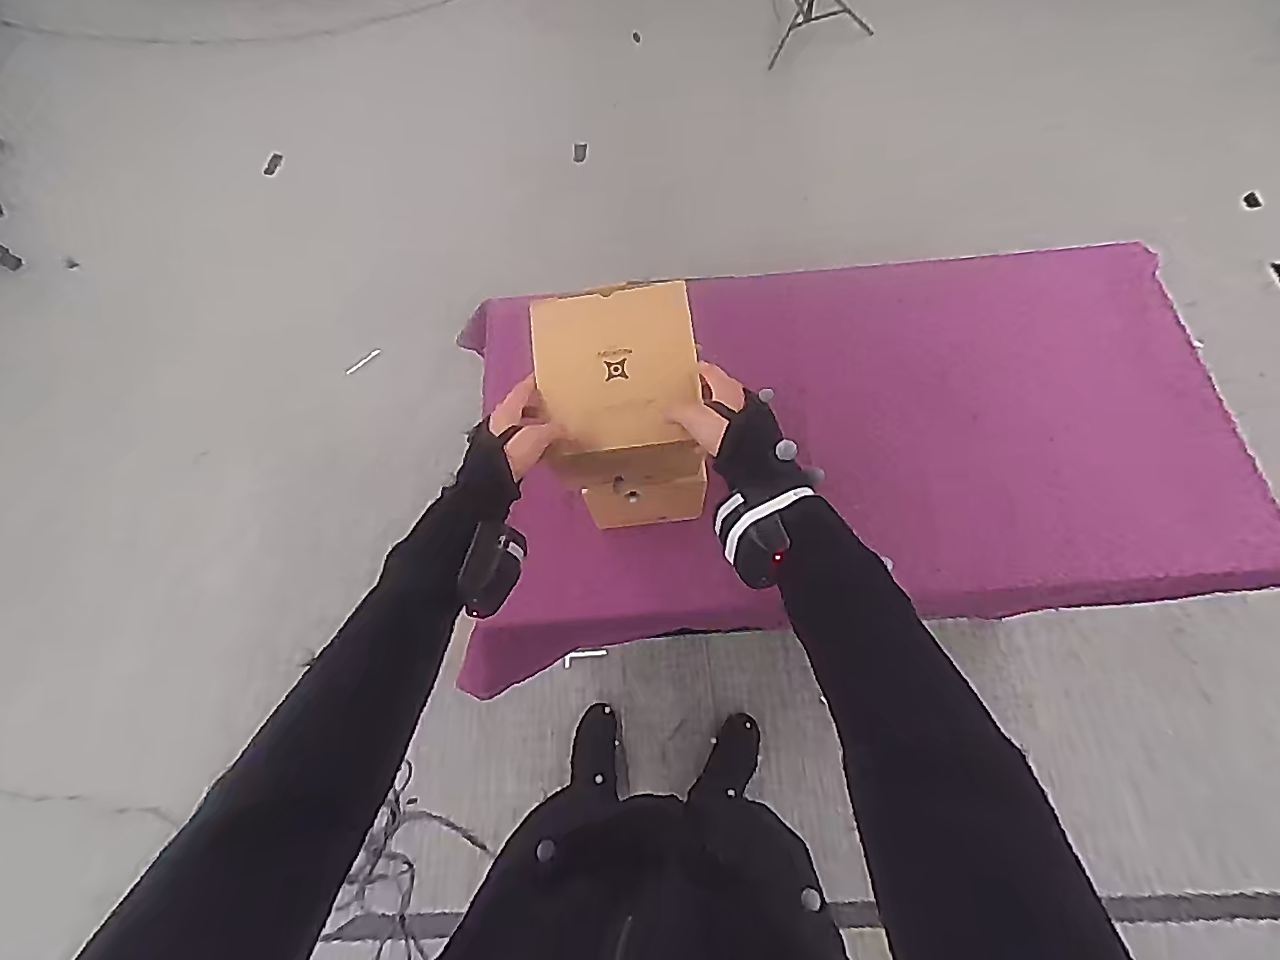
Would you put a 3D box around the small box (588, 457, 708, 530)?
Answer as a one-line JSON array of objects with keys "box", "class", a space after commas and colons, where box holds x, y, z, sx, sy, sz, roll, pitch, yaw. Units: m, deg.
[{"box": [0.006, -0.038, 0.807, 0.168, 0.176, 0.179, -5, 68, 1], "class": "small box"}]

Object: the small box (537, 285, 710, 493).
[{"box": [-0.017, -0.093, 0.622, 0.168, 0.176, 0.179, -7, 77, 2], "class": "small box"}]
